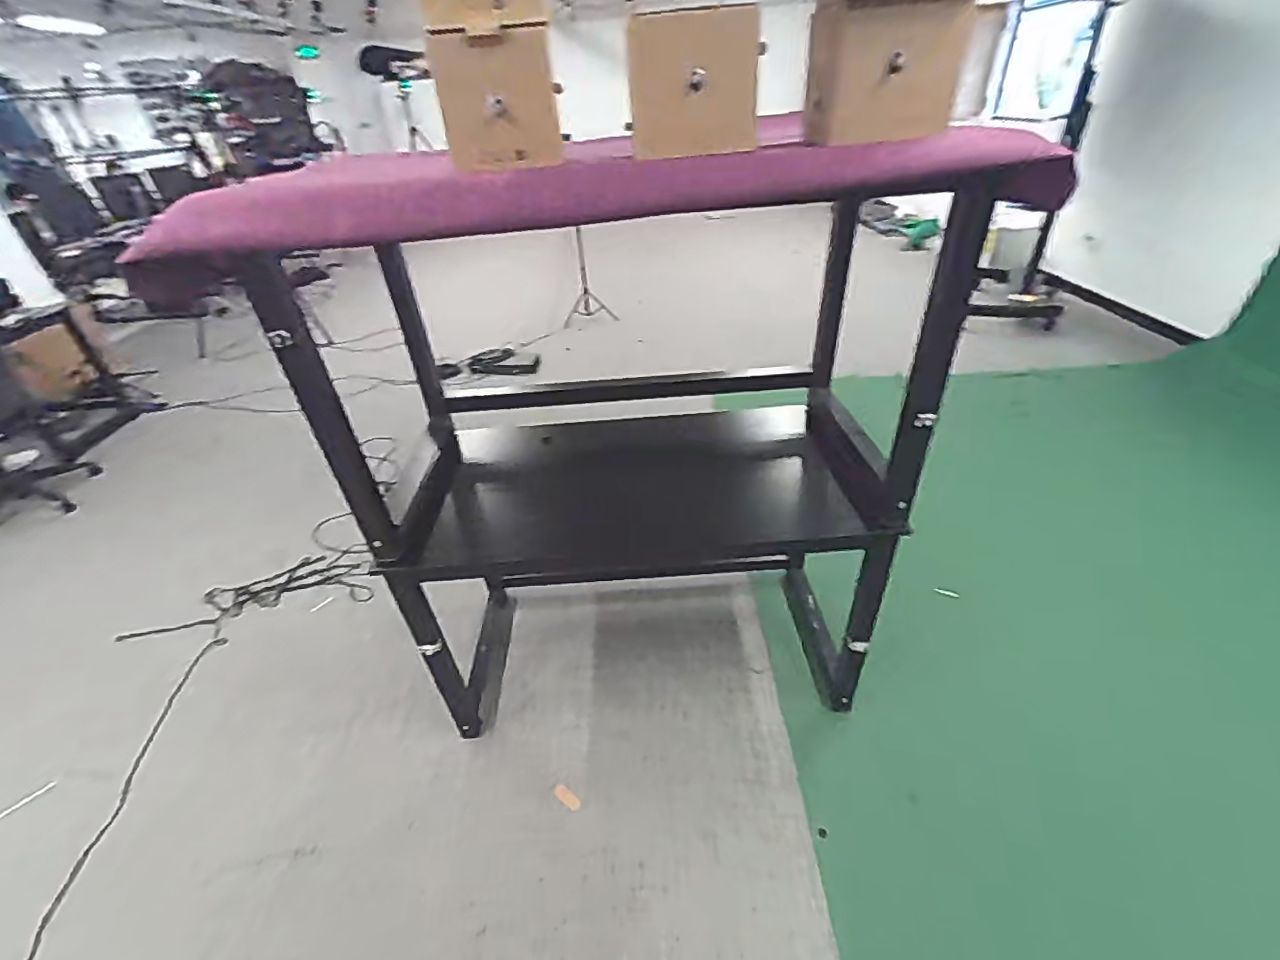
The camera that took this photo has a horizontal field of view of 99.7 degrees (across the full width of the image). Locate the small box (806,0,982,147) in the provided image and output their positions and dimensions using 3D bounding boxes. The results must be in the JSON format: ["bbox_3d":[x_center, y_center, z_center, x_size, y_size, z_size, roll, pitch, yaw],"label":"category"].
[{"bbox_3d":[0.359,-0.605,0.799,0.179,0.176,0.168,-5,36,2],"label":"small box"}]

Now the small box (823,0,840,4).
[{"bbox_3d":[0.349,-0.725,0.686,0.179,0.176,0.168,-5,35,2],"label":"small box"}]

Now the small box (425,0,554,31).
[{"bbox_3d":[-0.212,-0.715,0.737,0.168,0.176,0.179,-8,33,-4],"label":"small box"}]

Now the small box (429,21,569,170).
[{"bbox_3d":[-0.203,-0.583,0.834,0.168,0.176,0.179,-6,35,-2],"label":"small box"}]
